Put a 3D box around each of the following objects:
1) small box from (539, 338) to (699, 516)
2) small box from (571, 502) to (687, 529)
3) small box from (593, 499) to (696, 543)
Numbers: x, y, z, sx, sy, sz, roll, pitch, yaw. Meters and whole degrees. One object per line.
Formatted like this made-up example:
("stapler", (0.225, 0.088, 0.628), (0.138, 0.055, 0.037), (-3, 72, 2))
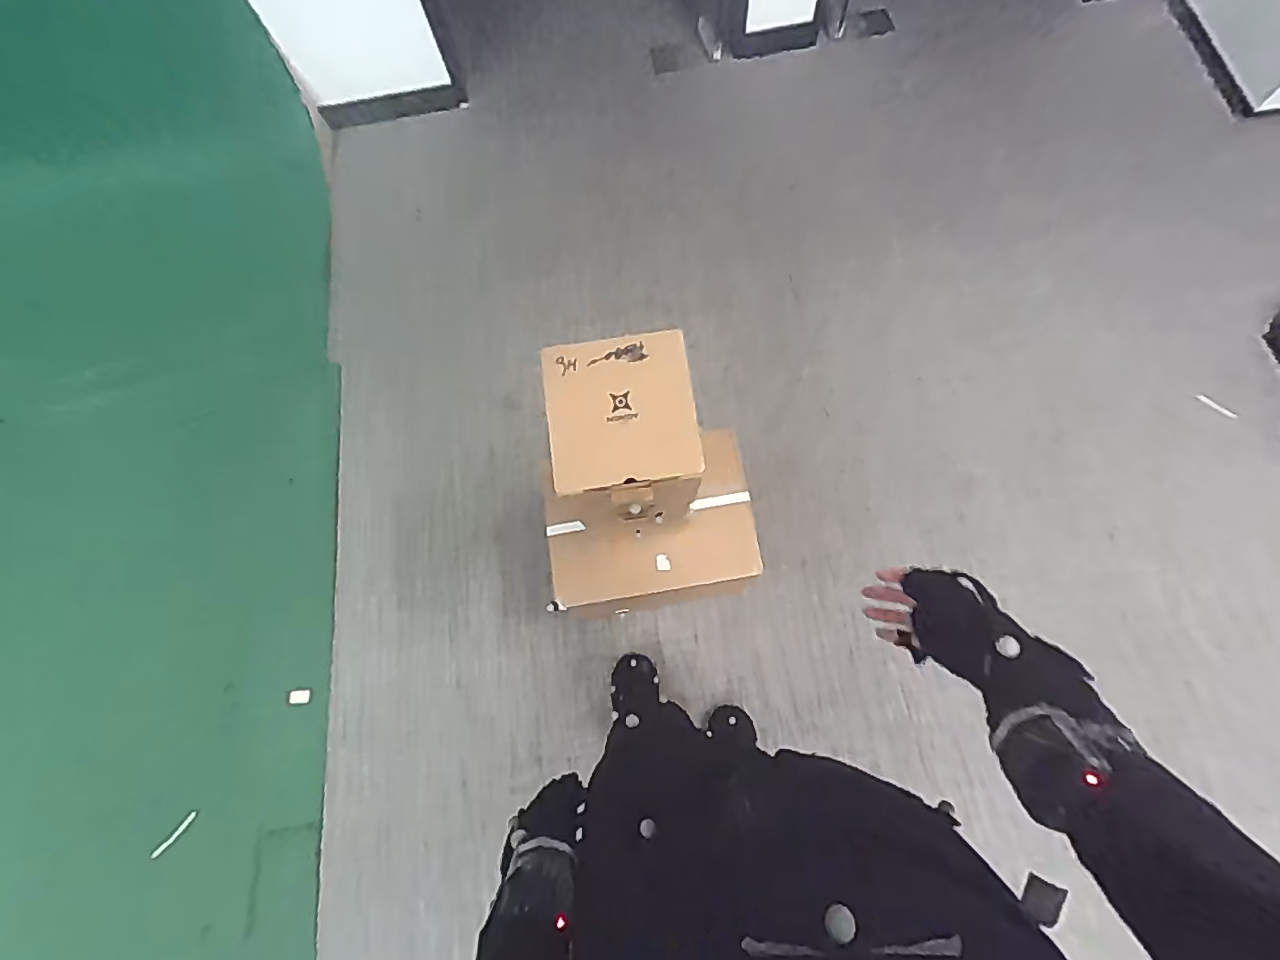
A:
("small box", (-0.021, -0.054, 0.683), (0.168, 0.176, 0.179), (-9, 78, 1))
("small box", (-0.020, -0.021, 0.844), (0.168, 0.176, 0.179), (-8, 77, 0))
("small box", (-0.003, 0.018, 1.001), (0.179, 0.176, 0.168), (-11, 78, 0))
